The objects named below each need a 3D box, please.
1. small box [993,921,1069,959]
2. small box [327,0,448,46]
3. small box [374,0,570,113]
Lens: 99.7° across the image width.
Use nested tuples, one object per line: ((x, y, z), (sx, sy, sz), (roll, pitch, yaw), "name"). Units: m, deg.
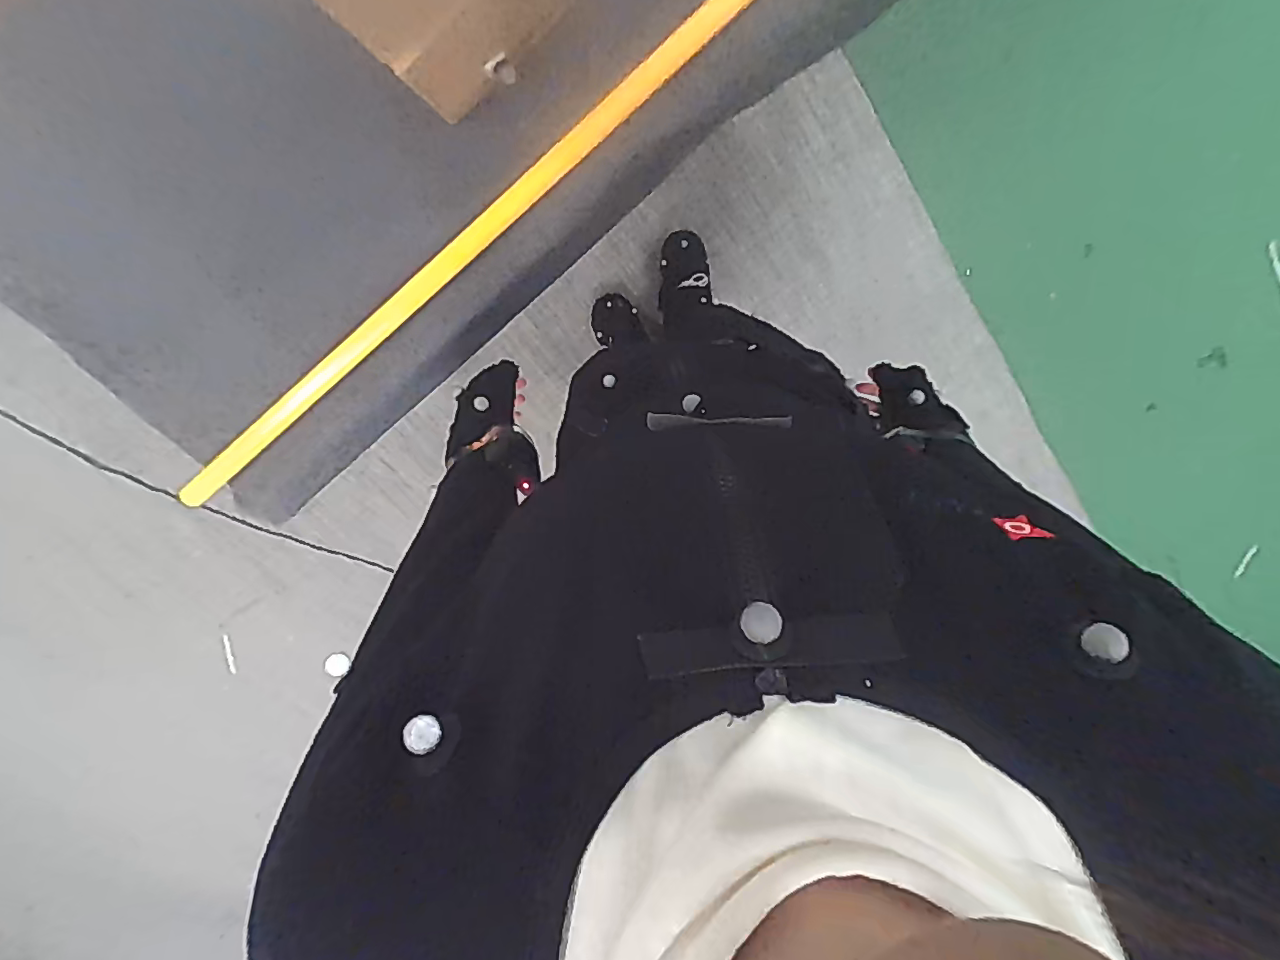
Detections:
((1.192, 1.457, 1.597), (0.168, 0.176, 0.179), (-31, 111, 8), "small box")
((-0.169, -0.388, 0.280), (0.168, 0.176, 0.179), (-35, 110, 11), "small box")
((-0.174, -0.444, 0.435), (0.168, 0.176, 0.179), (-39, 109, 13), "small box")
